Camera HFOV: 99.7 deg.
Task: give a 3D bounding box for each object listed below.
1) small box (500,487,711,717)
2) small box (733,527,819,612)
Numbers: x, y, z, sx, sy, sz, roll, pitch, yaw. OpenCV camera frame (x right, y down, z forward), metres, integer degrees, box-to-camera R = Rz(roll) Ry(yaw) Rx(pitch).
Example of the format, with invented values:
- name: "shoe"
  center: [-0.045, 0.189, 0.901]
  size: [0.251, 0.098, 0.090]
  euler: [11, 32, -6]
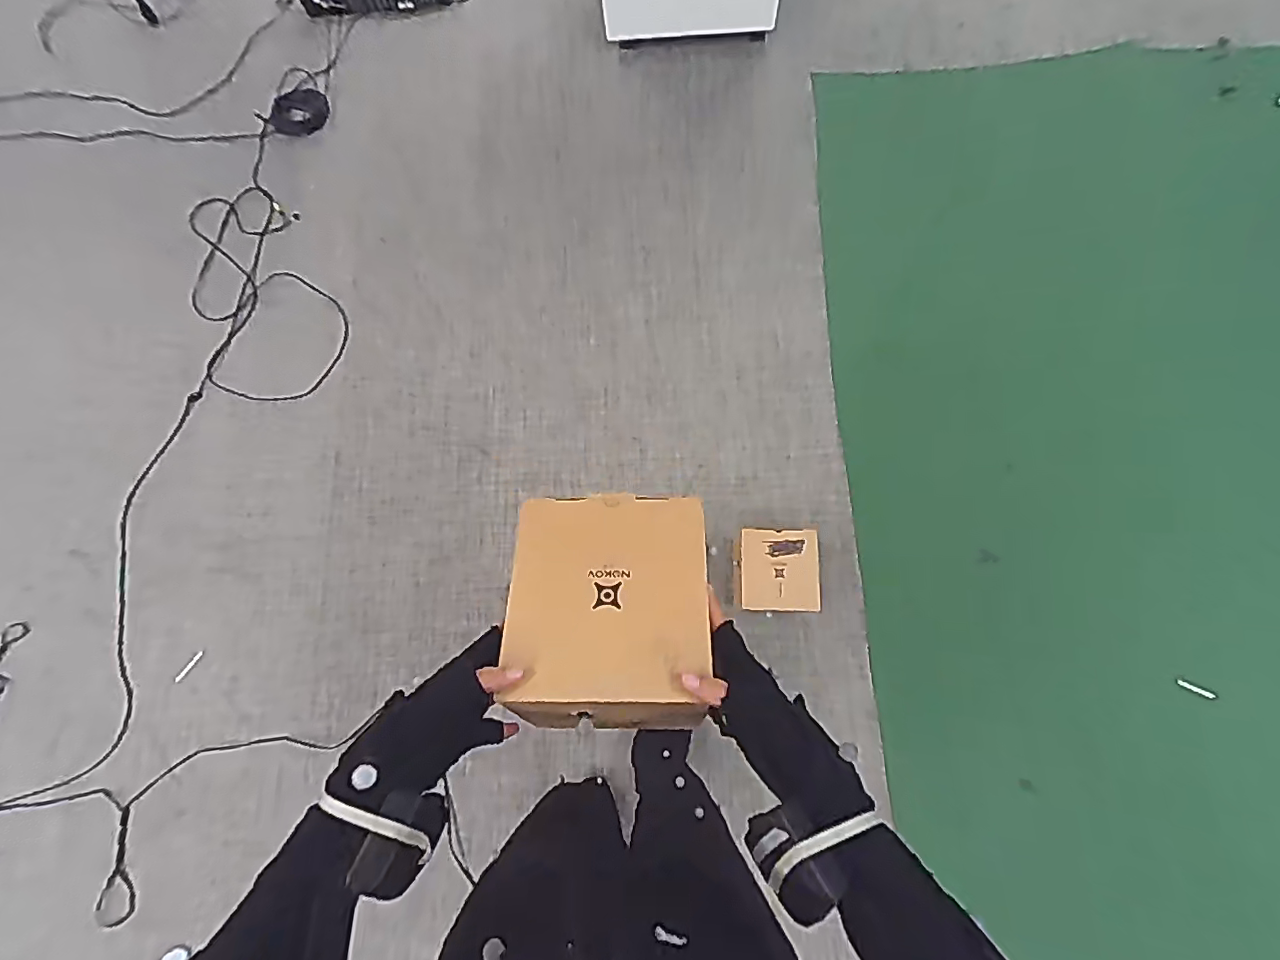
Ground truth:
- name: "small box"
  center: [-0.022, 0.123, 0.518]
  size: [0.168, 0.176, 0.179]
  euler: [-1, 58, 2]
- name: "small box"
  center: [0.303, 0.208, 1.235]
  size: [0.168, 0.176, 0.179]
  euler: [1, 78, 4]
